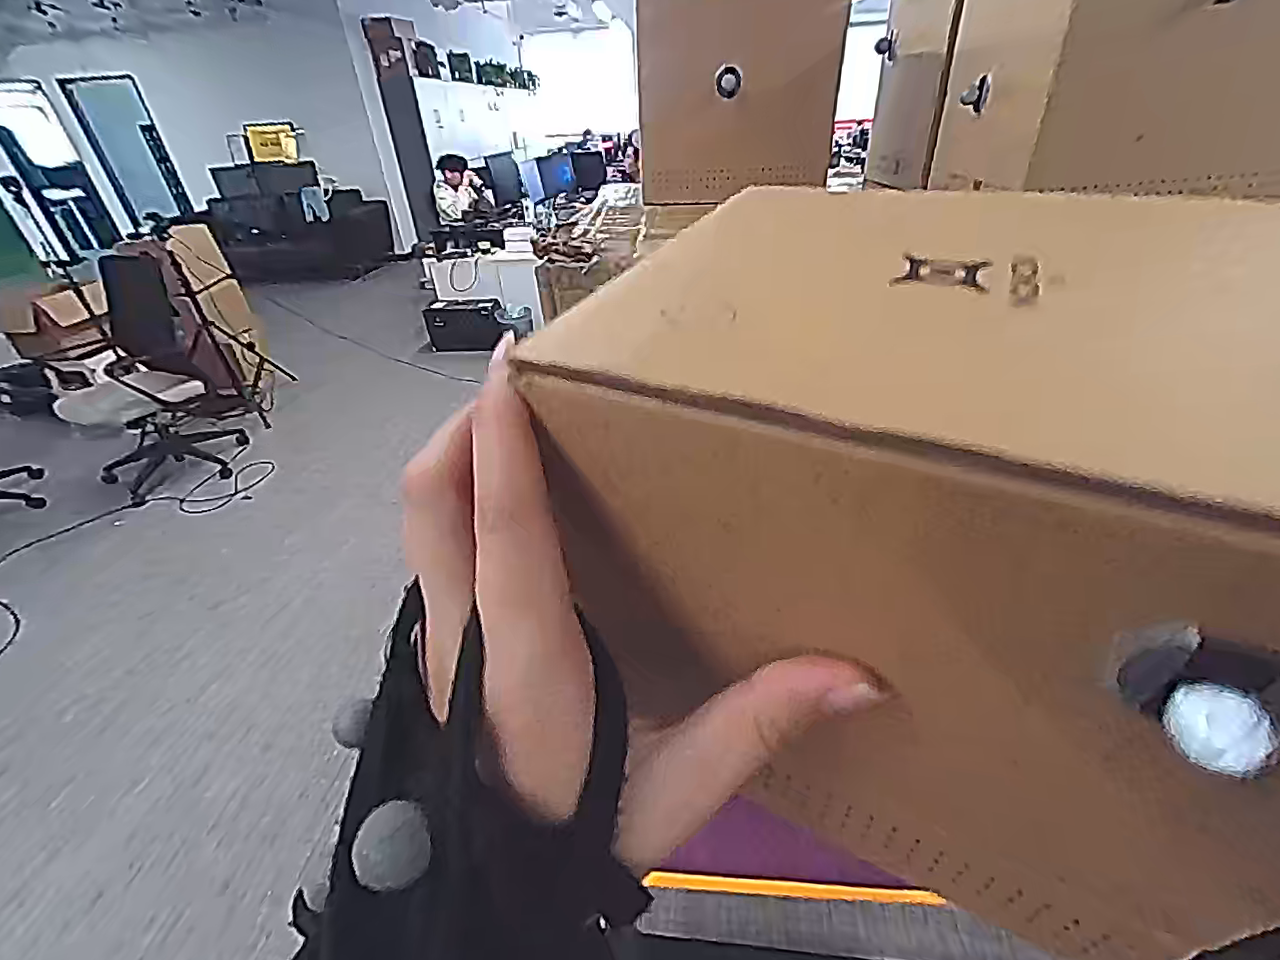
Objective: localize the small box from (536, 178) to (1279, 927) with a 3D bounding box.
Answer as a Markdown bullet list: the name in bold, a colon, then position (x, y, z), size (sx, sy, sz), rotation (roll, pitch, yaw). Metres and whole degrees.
- **small box**: position (0.094, 0.007, 0.188), size (0.179, 0.176, 0.168), rotation (16, 44, 24)

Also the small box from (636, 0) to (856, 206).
- **small box**: position (0.098, -0.374, 0.529), size (0.179, 0.176, 0.168), rotation (2, 33, 9)
